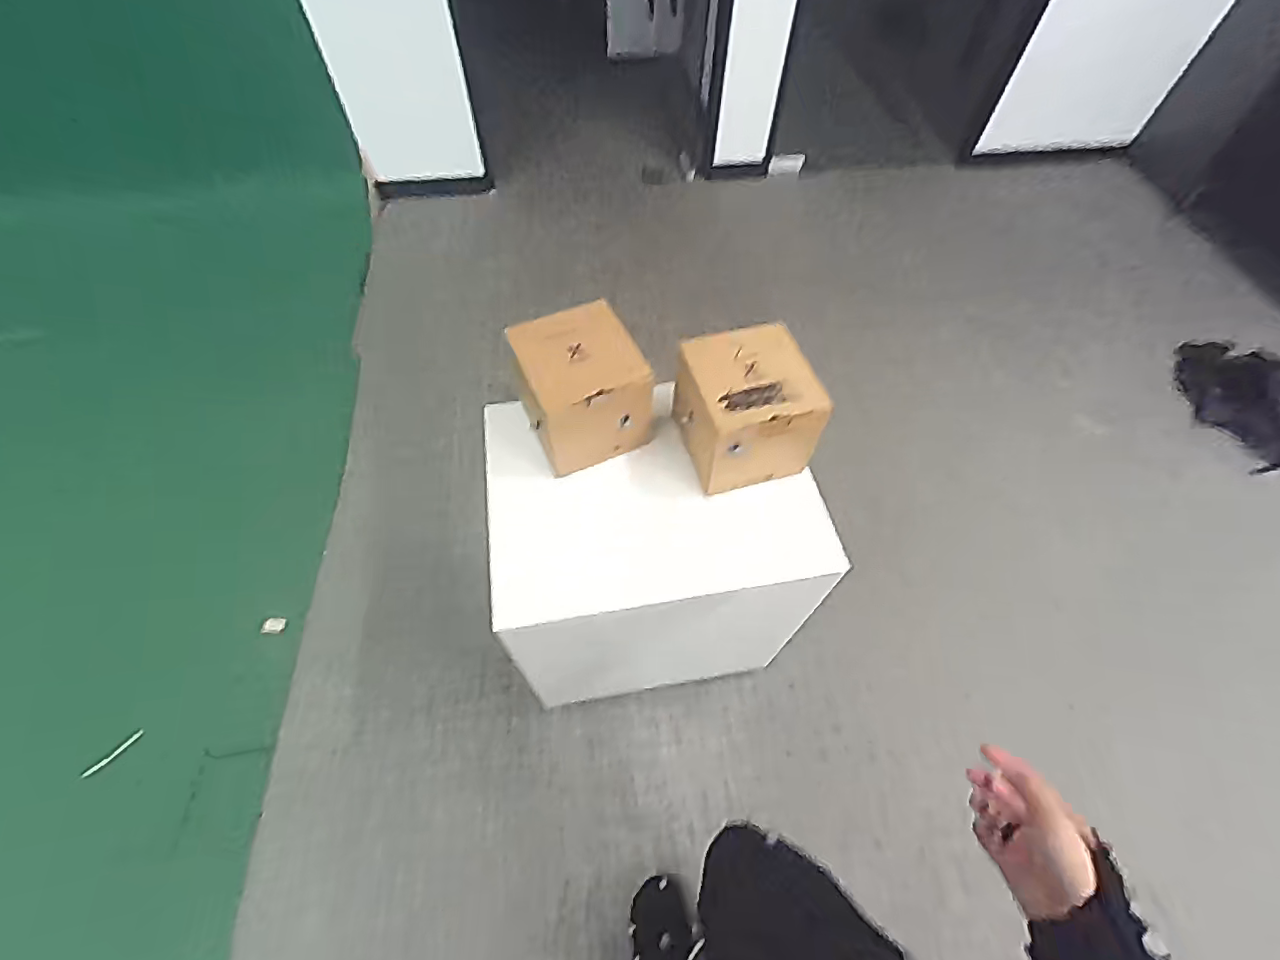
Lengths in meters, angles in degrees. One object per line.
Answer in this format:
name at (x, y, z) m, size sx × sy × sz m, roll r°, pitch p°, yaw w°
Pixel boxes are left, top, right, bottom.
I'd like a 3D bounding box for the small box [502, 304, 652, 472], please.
small box at (-0.093, -0.133, 0.833) m, size 0.168 × 0.176 × 0.179 m, roll -22°, pitch 60°, yaw -16°
